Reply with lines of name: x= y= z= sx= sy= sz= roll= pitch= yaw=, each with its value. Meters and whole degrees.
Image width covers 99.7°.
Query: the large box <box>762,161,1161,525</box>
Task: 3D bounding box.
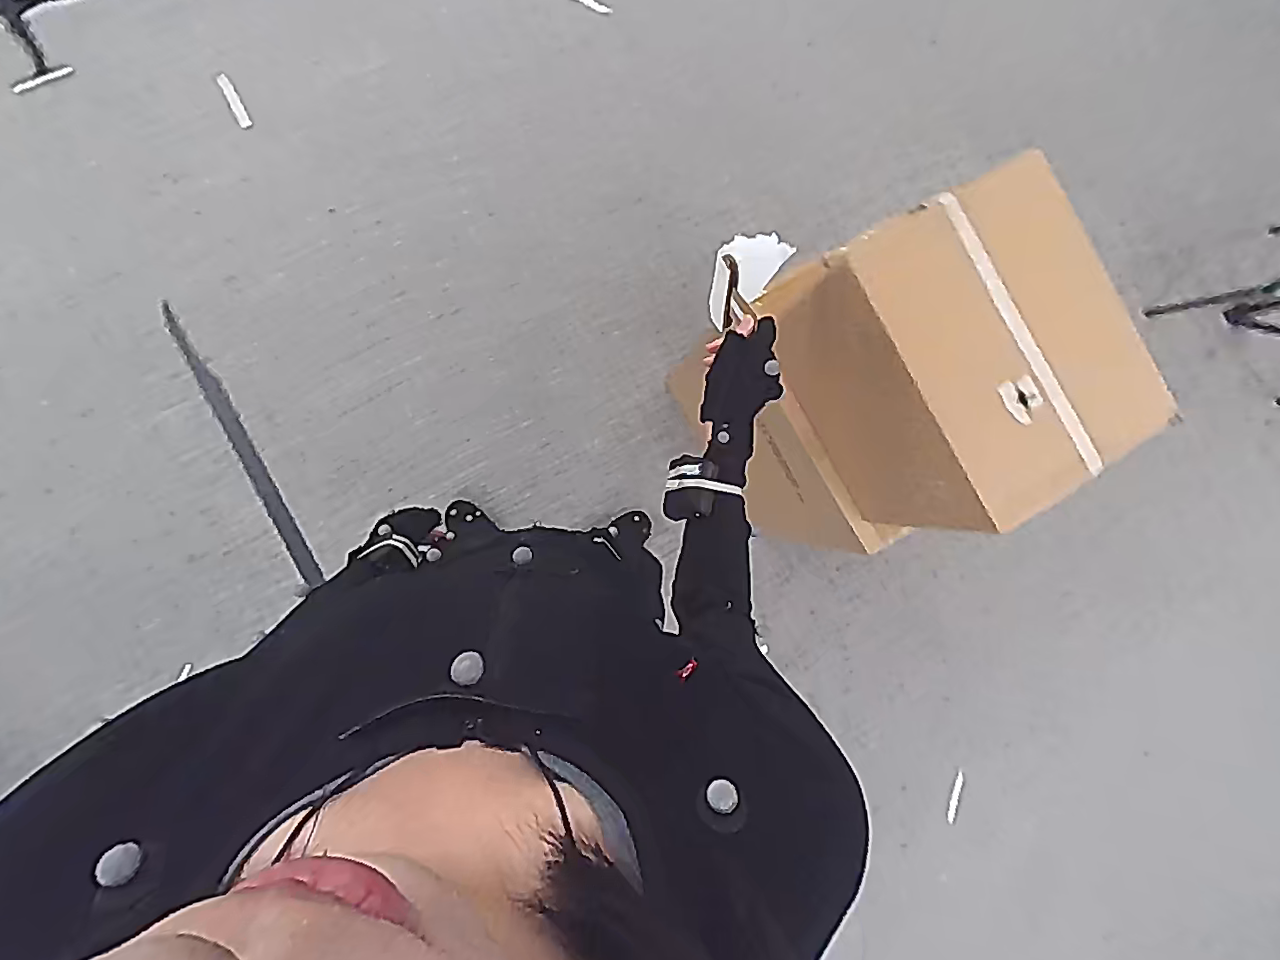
large box: x=0.463 y=-0.181 z=0.857 sx=0.320 sy=0.320 sz=0.408 roll=-30 pitch=92 yaw=-7
